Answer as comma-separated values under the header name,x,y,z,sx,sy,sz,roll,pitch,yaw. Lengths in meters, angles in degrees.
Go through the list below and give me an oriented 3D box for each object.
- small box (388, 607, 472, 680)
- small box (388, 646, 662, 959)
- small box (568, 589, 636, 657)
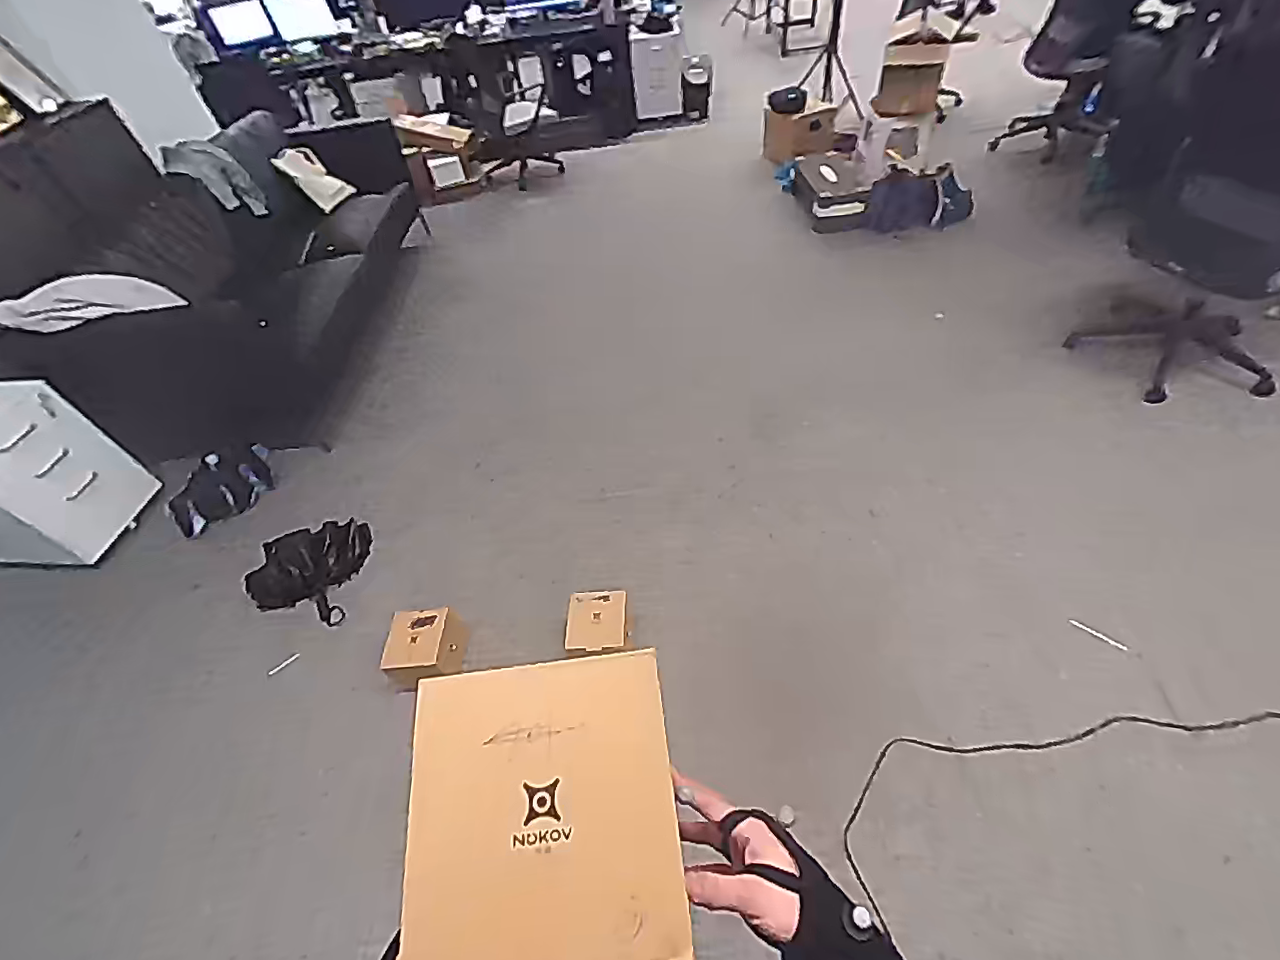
name,x,y,z,sx,sy,sz,roll,pitch,yaw
small box,-0.625,0.504,1.634,0.168,0.176,0.179,-6,50,5
small box,-0.073,0.244,0.422,0.168,0.176,0.179,-7,61,-3
small box,-0.106,0.443,1.599,0.168,0.176,0.179,-4,49,7
